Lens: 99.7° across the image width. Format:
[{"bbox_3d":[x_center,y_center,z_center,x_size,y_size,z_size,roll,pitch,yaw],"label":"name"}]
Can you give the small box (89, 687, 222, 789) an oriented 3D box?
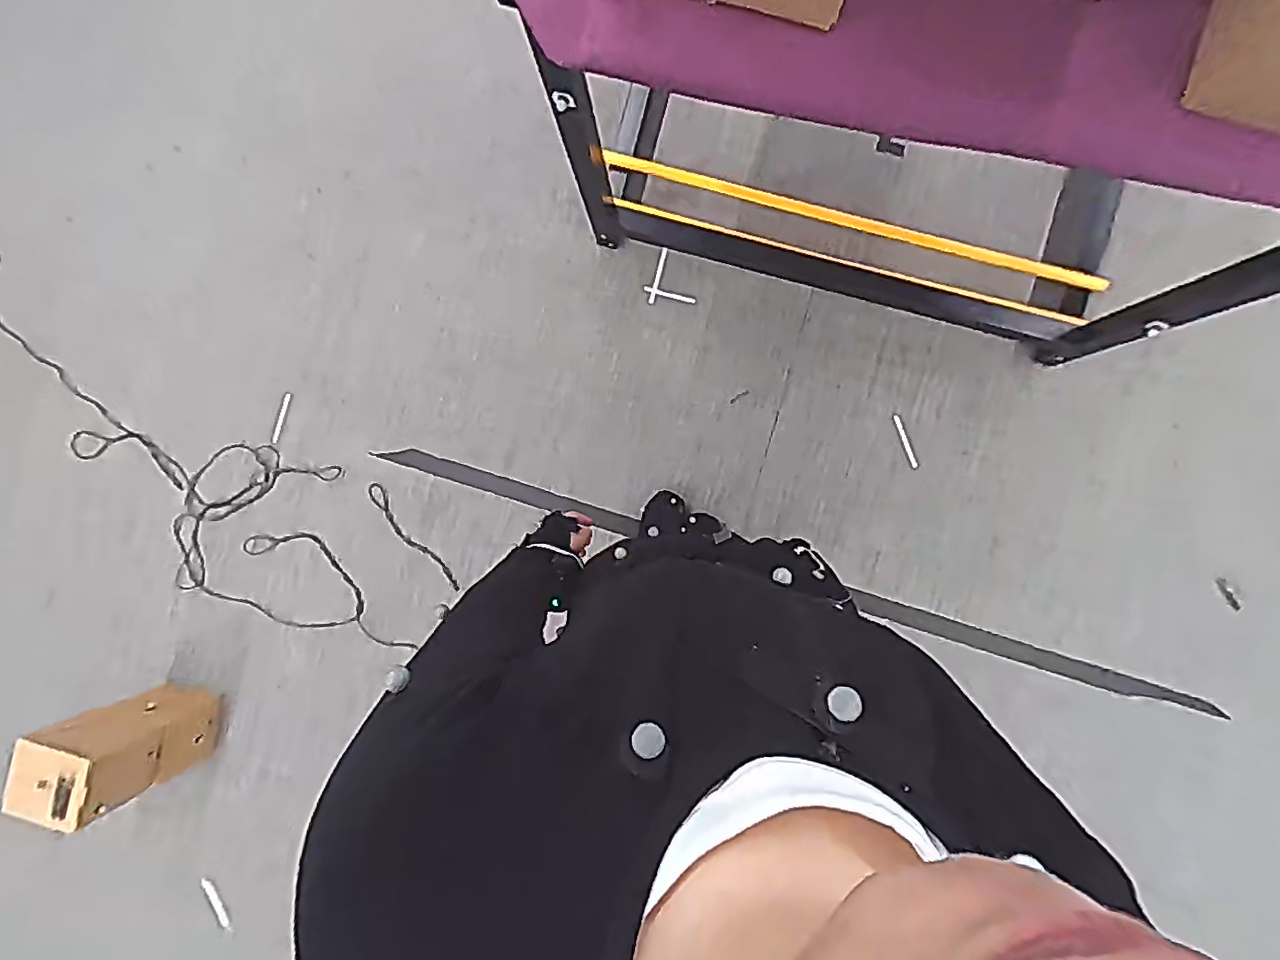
[{"bbox_3d":[-1.231,0.650,1.384,0.179,0.176,0.168,10,90,3],"label":"small box"}]
